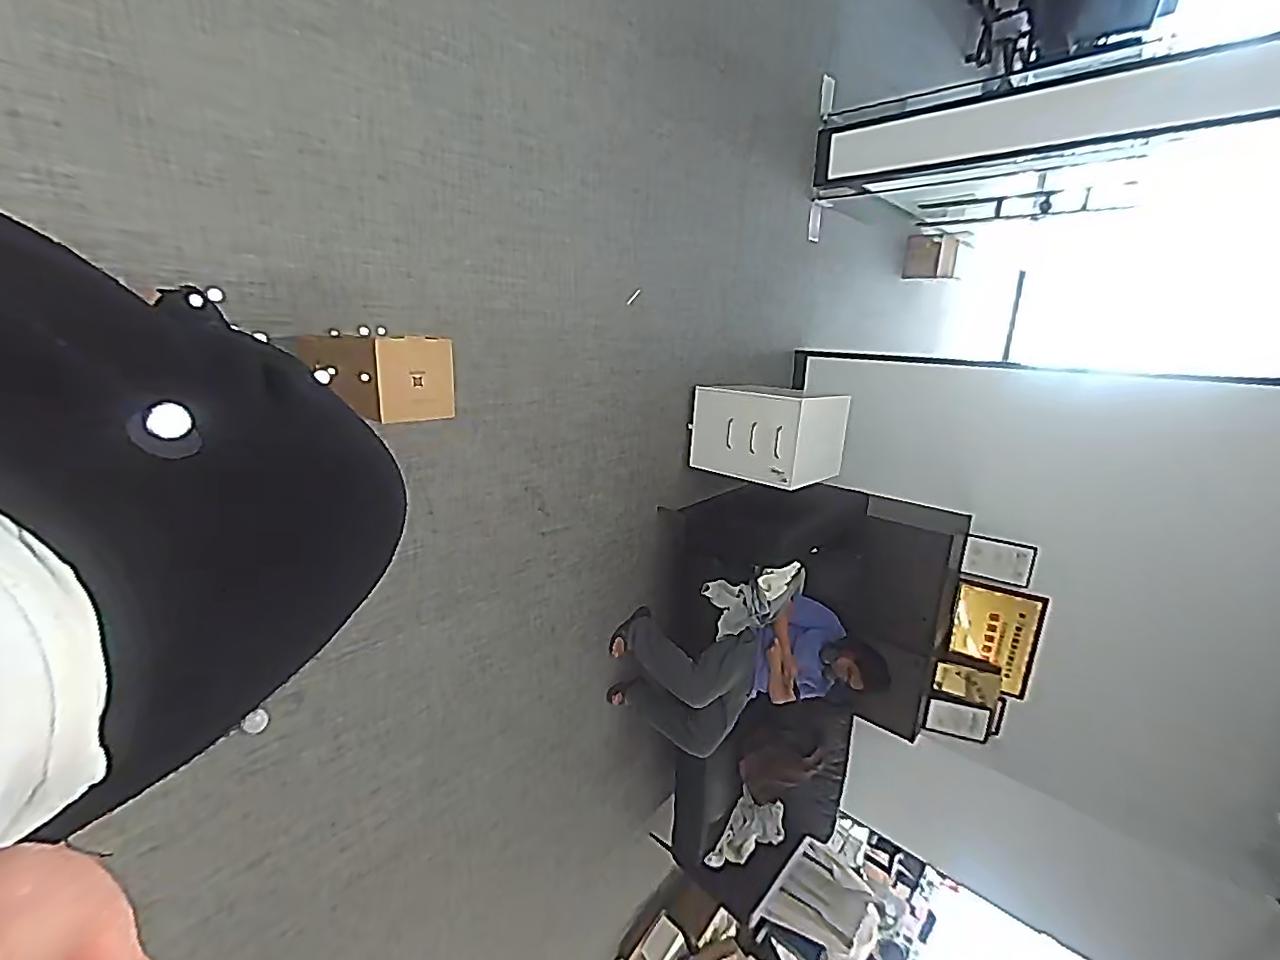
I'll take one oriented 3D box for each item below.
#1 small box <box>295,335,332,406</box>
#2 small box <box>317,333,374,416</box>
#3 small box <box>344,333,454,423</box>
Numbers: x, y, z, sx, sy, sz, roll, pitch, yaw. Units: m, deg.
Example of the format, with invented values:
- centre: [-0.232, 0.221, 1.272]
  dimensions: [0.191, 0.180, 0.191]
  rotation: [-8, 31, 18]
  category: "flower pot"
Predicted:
- centre: [-0.771, -0.286, 1.400]
  dimensions: [0.179, 0.176, 0.168]
  rotation: [-14, 113, -46]
  category: "small box"
- centre: [-0.648, -0.258, 1.294]
  dimensions: [0.168, 0.176, 0.179]
  rotation: [-16, 114, -47]
  category: "small box"
- centre: [-0.530, -0.229, 1.187]
  dimensions: [0.168, 0.176, 0.179]
  rotation: [-15, 115, -46]
  category: "small box"
